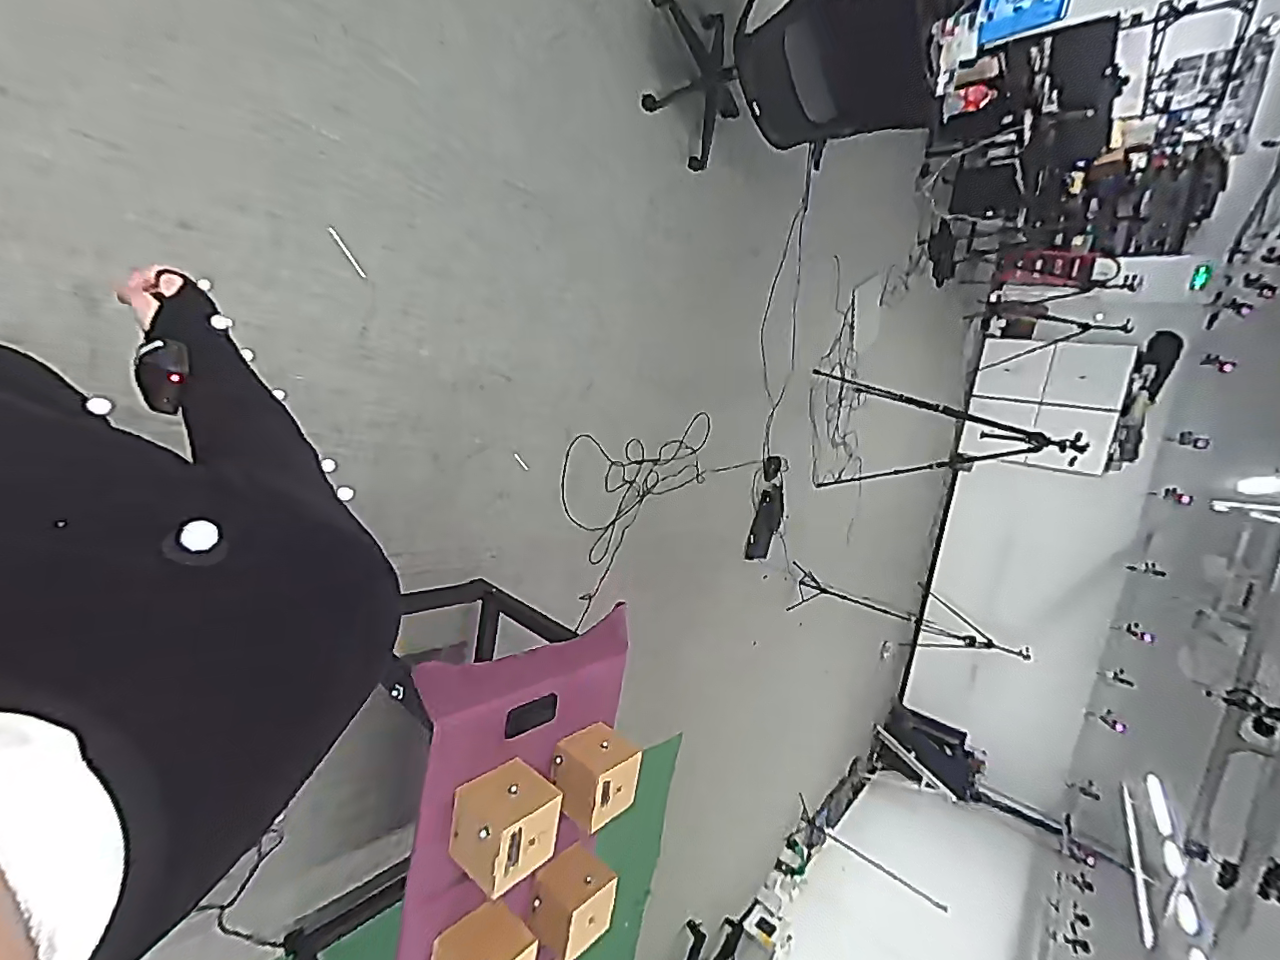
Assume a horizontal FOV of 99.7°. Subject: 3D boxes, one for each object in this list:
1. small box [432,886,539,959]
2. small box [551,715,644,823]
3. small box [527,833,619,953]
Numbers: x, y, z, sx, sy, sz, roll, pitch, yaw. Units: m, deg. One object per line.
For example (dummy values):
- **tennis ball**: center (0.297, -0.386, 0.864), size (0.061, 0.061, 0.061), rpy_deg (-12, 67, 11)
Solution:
- **small box**: center (-0.375, 1.139, 1.300), size (0.179, 0.176, 0.168), rpy_deg (1, 103, -51)
- **small box**: center (-0.119, 0.778, 1.474), size (0.179, 0.176, 0.168), rpy_deg (0, 103, -50)
- **small box**: center (-0.190, 1.151, 1.527), size (0.179, 0.176, 0.168), rpy_deg (3, 100, -50)
